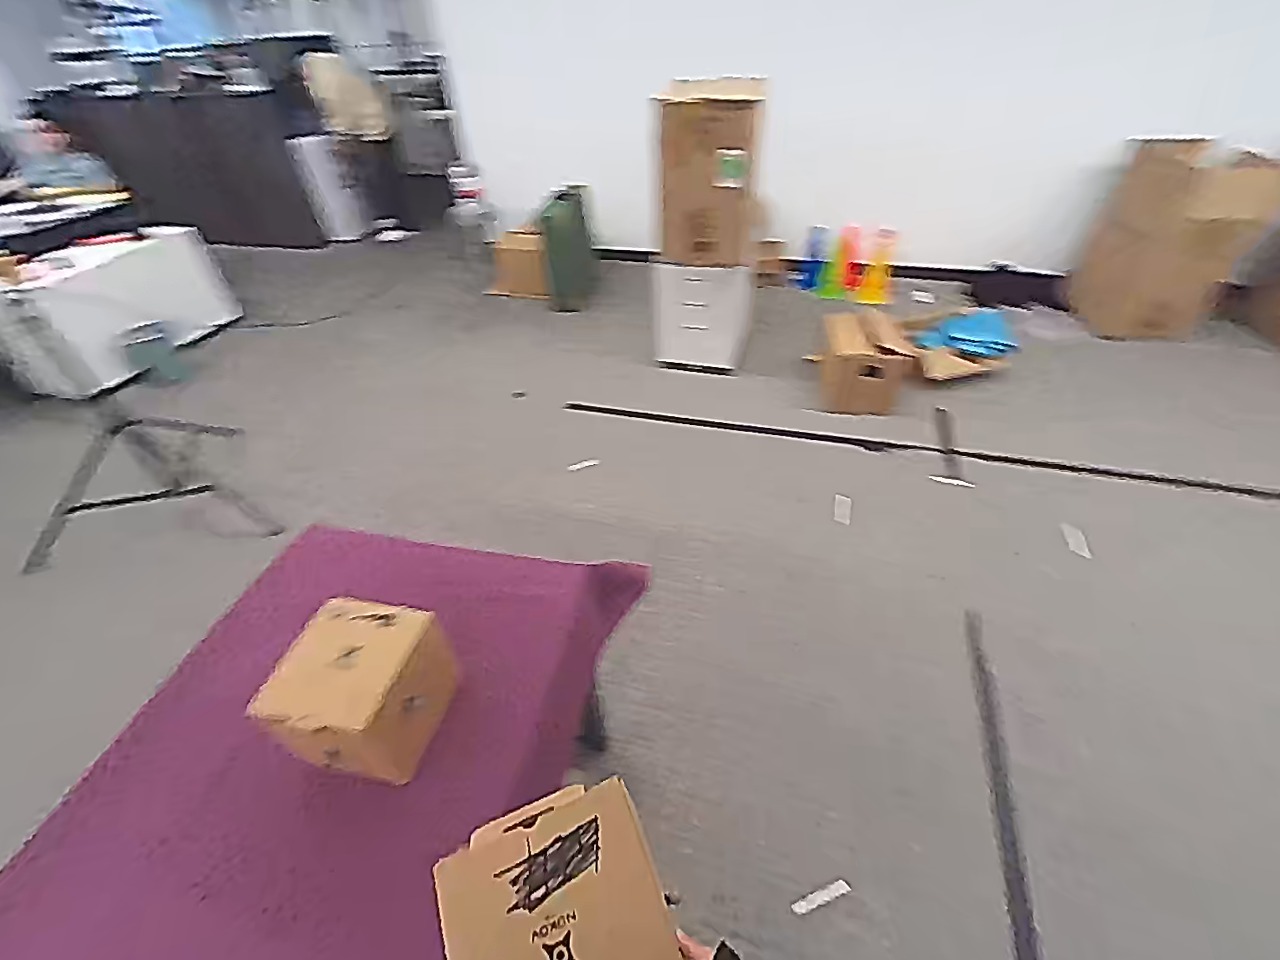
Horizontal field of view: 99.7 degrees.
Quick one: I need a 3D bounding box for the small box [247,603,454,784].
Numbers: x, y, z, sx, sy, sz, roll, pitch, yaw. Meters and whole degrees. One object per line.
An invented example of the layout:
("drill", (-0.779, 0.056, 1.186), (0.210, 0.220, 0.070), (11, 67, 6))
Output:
("small box", (-0.389, 0.304, 0.769), (0.168, 0.176, 0.179), (5, 43, 10))
